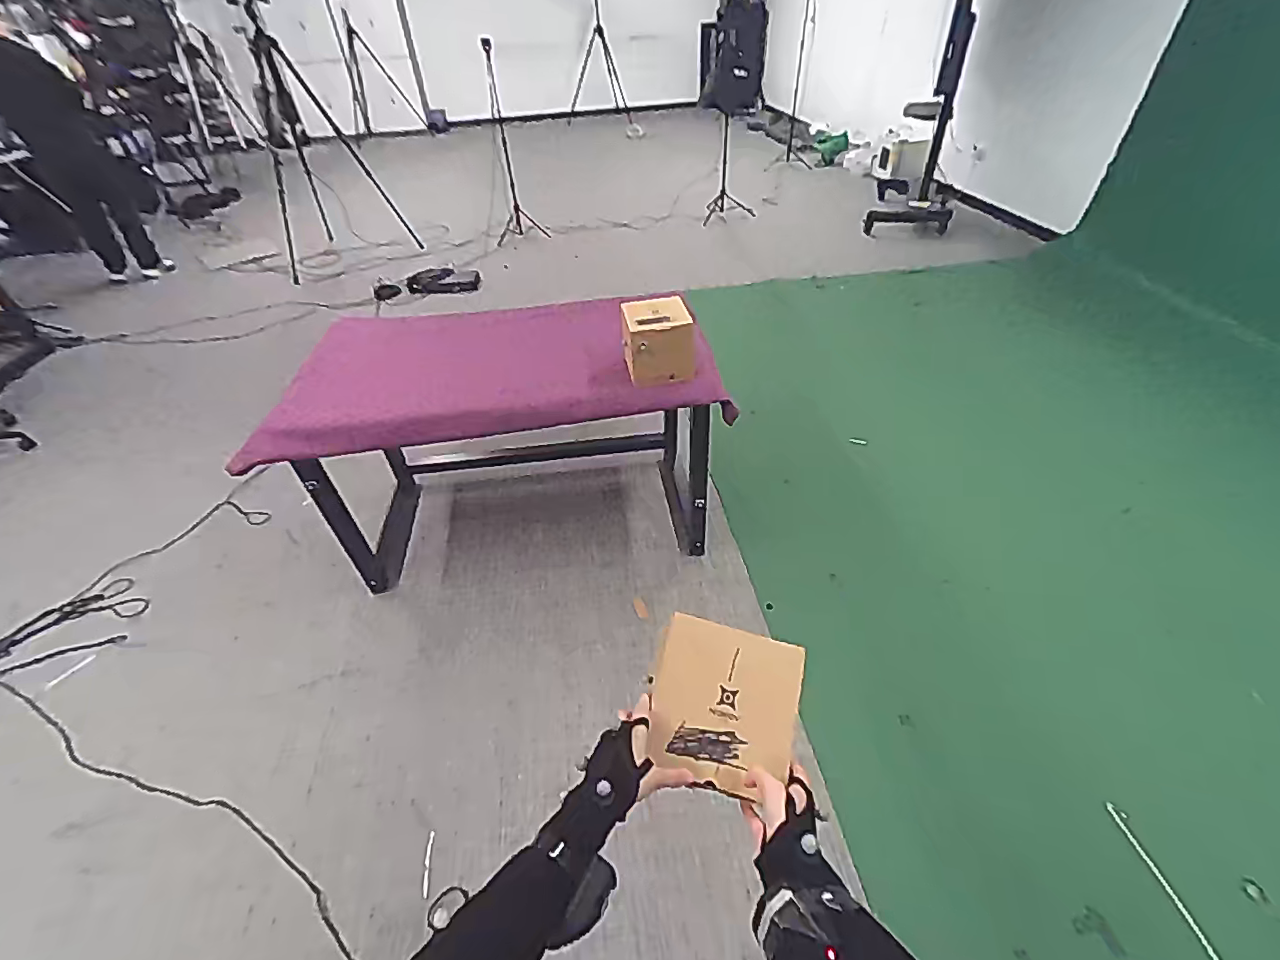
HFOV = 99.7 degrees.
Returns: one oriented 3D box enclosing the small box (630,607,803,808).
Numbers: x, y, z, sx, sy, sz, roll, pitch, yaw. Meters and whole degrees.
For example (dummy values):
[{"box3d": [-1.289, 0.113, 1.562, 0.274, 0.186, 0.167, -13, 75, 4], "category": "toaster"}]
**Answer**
[{"box3d": [0.087, 0.282, 0.682, 0.168, 0.176, 0.179, 16, 66, 2], "category": "small box"}]
